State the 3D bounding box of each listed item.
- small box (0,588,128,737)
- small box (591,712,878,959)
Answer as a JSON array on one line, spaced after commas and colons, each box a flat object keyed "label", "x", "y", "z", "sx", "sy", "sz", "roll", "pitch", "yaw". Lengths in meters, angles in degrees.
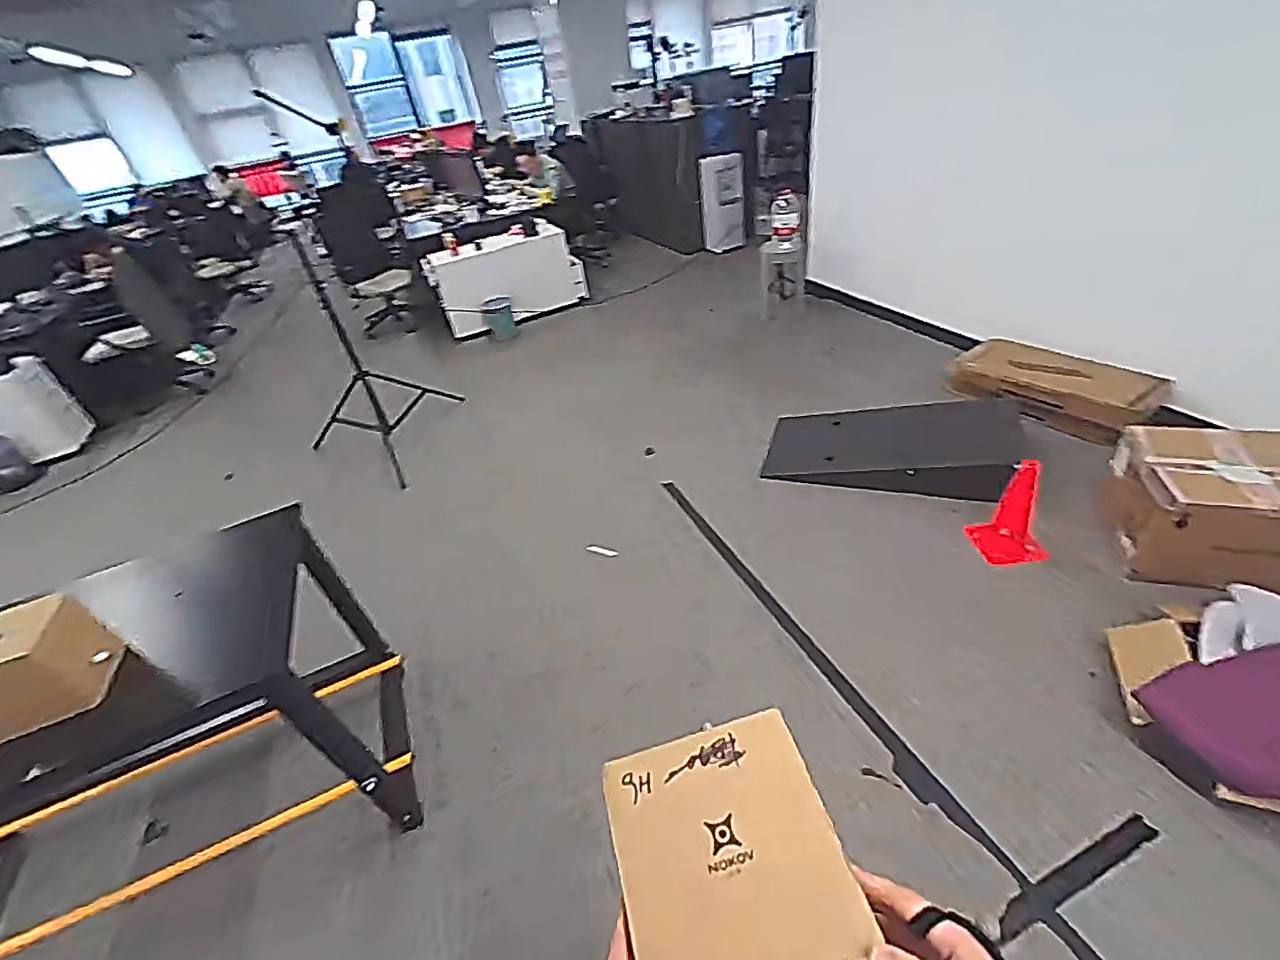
[{"label": "small box", "x": -1.133, "y": 0.342, "z": 1.010, "sx": 0.179, "sy": 0.176, "sz": 0.168, "roll": -21, "pitch": 38, "yaw": -14}, {"label": "small box", "x": 0.070, "y": 0.334, "z": 0.455, "sx": 0.168, "sy": 0.176, "sz": 0.179, "roll": -17, "pitch": 44, "yaw": -5}]
